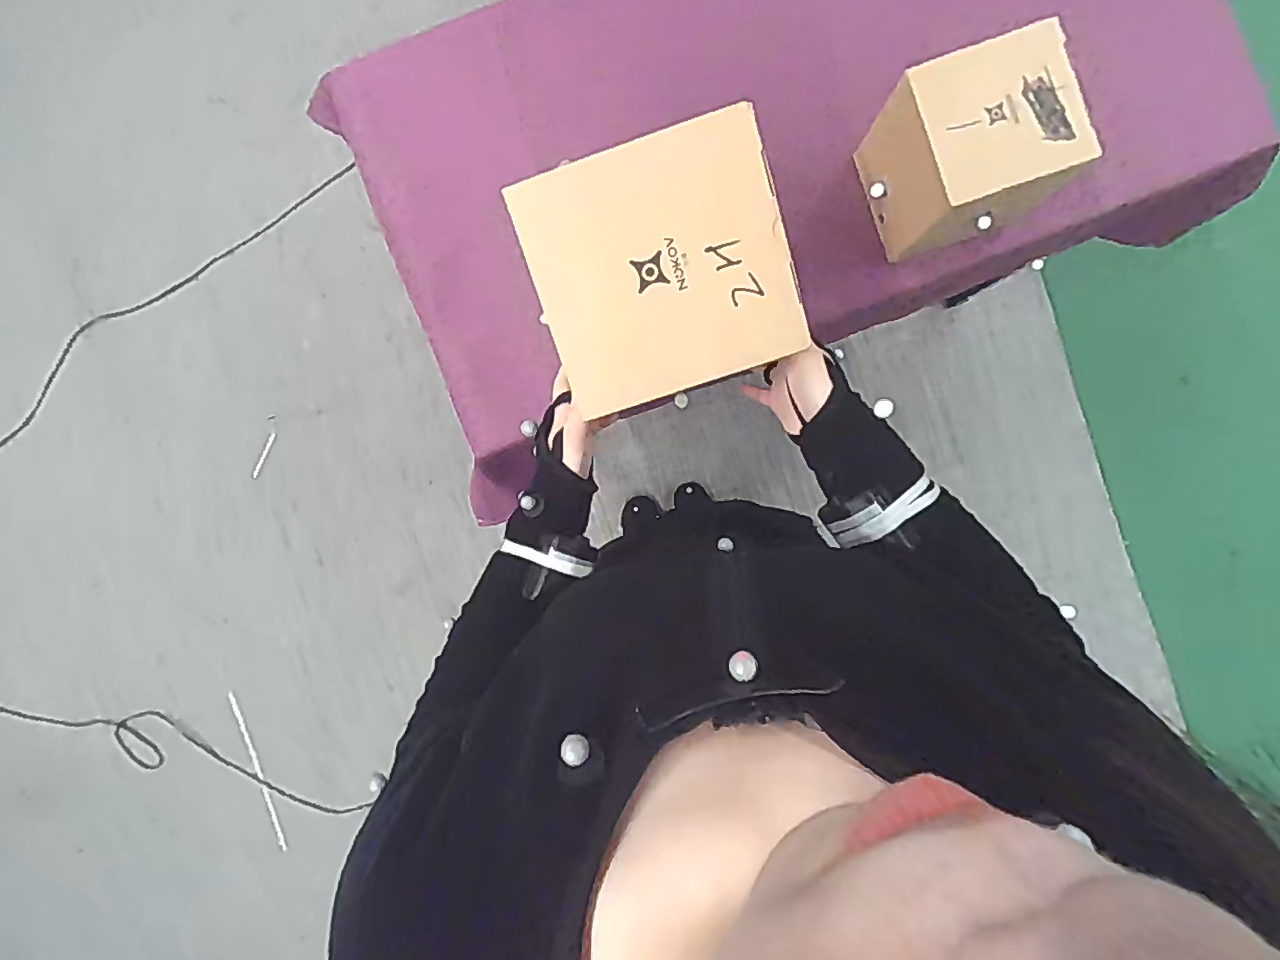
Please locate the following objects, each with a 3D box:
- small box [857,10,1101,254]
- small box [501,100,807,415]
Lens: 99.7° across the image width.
[{"bbox_3d":[0.403,-0.413,0.674,0.179,0.176,0.168,-18,90,3],"label":"small box"},{"bbox_3d":[0.013,-0.160,0.444,0.179,0.176,0.168,-17,102,3],"label":"small box"}]
